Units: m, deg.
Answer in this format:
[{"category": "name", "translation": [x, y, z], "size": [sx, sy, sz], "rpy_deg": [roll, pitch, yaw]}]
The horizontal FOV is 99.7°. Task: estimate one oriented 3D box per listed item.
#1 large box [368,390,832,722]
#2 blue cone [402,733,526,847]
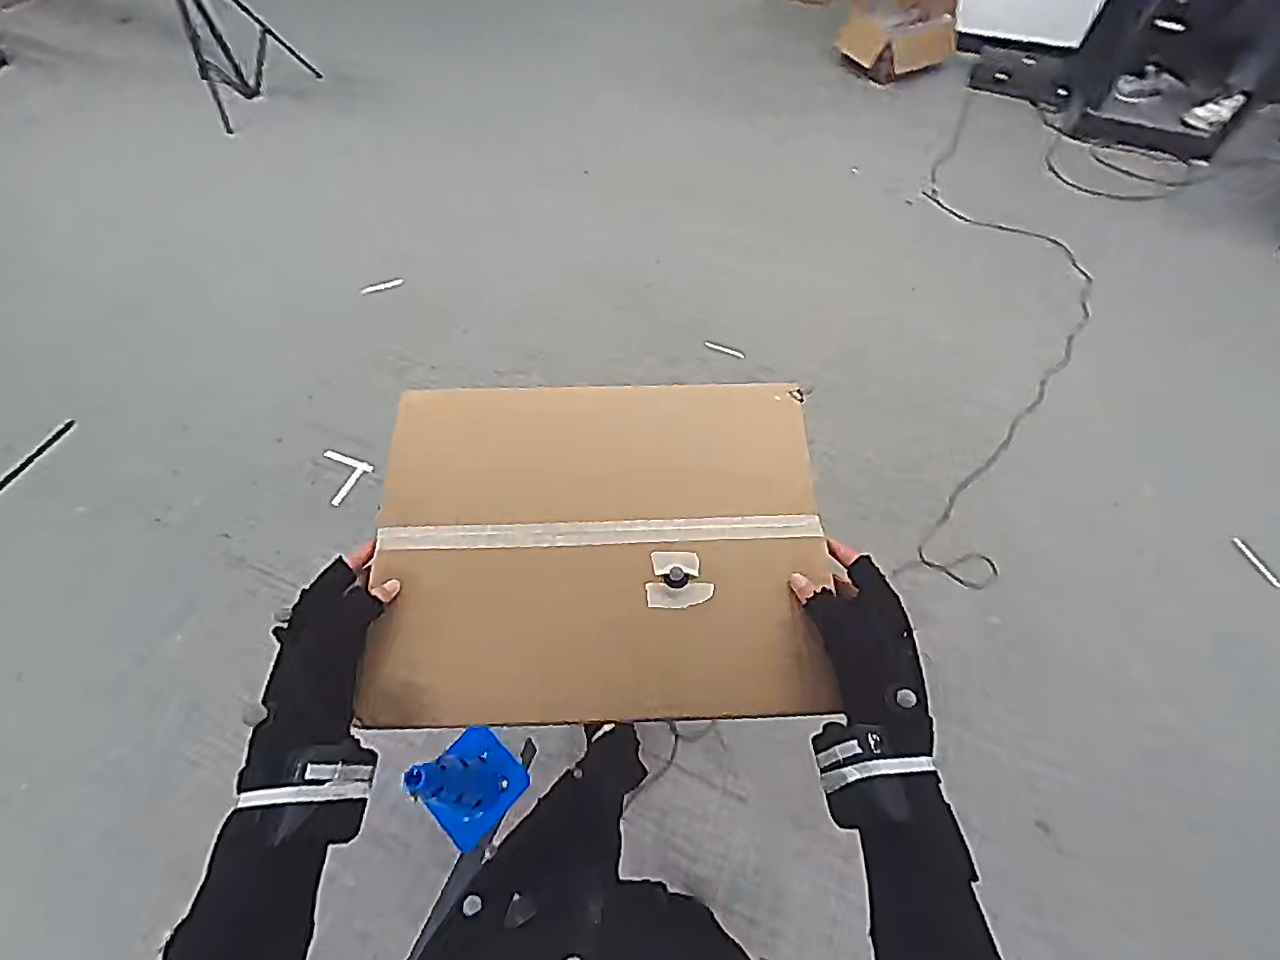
[{"category": "large box", "translation": [-0.042, 0.111, 0.652], "size": [0.408, 0.320, 0.320], "rpy_deg": [-2, 67, -1]}, {"category": "blue cone", "translation": [-0.387, 0.630, 1.112], "size": [0.192, 0.380, 0.193], "rpy_deg": [-42, 66, -19]}]
